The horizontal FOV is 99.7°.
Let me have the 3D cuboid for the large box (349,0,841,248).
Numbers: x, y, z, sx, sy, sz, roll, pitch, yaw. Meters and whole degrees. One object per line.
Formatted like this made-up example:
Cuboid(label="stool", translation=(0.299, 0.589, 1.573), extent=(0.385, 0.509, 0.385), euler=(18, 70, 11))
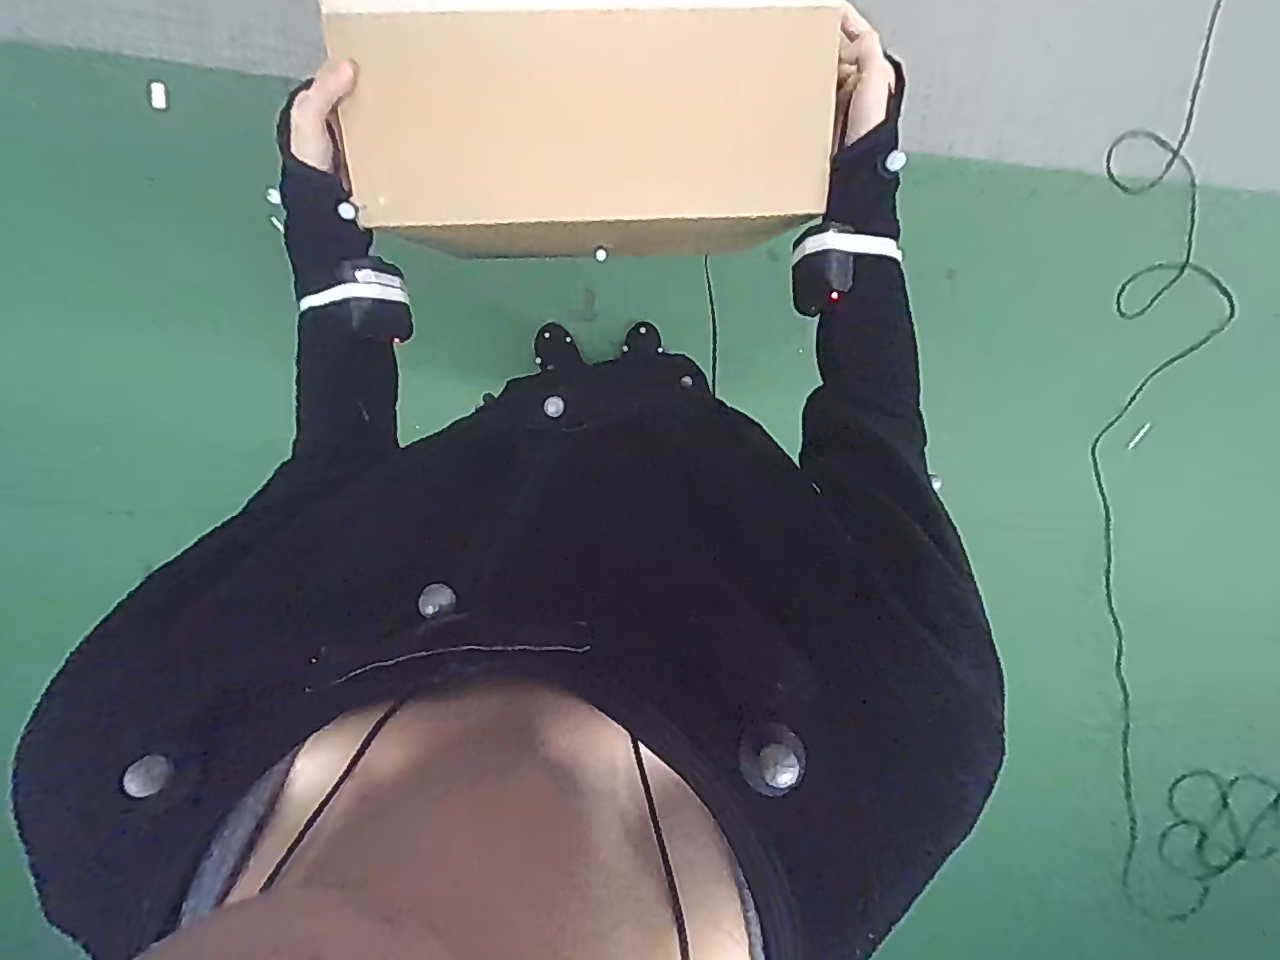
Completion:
Cuboid(label="large box", translation=(-0.037, -0.428, 0.574), extent=(0.408, 0.320, 0.320), euler=(-2, 107, -2))
